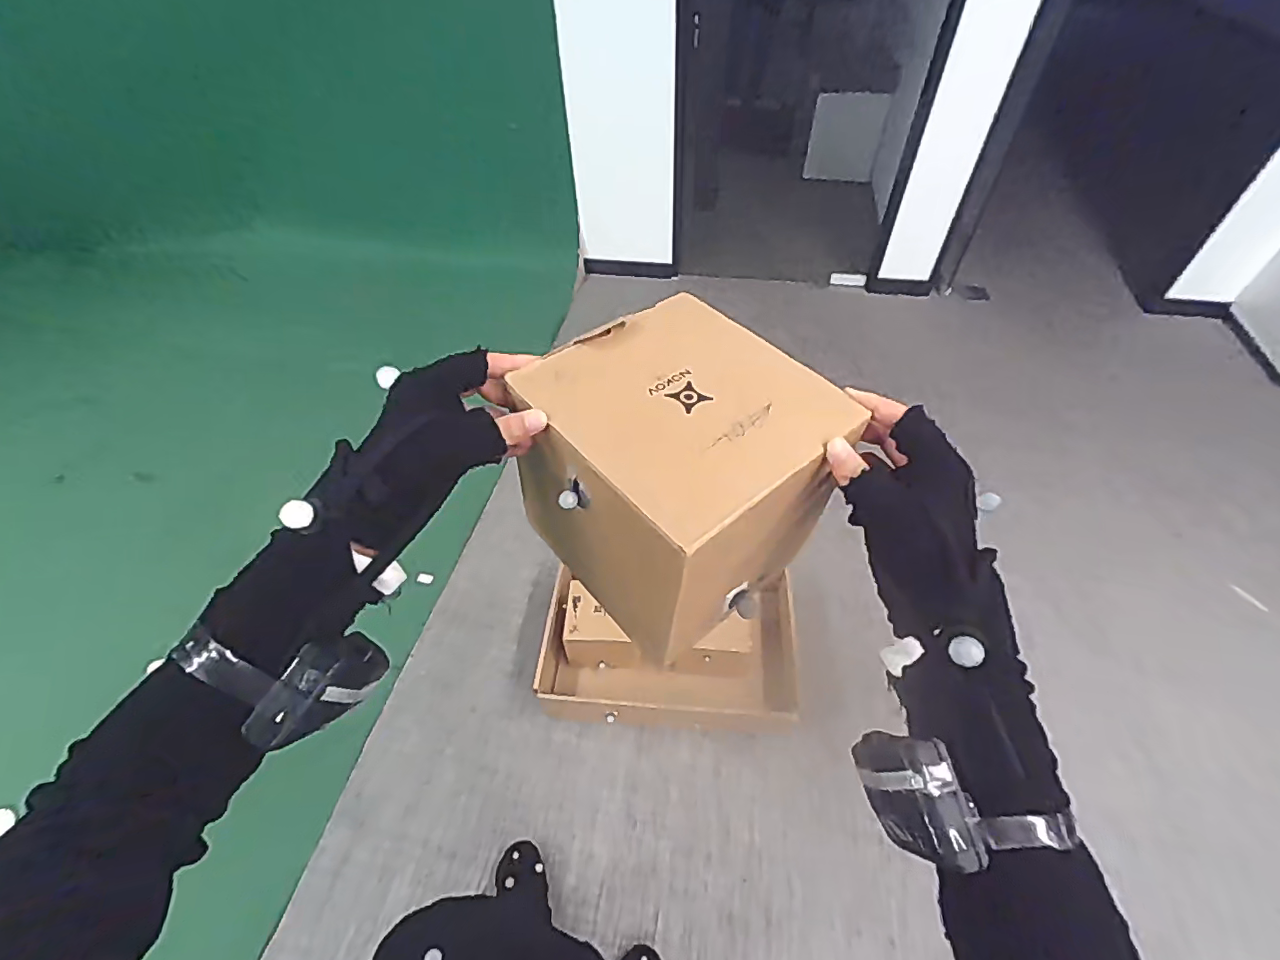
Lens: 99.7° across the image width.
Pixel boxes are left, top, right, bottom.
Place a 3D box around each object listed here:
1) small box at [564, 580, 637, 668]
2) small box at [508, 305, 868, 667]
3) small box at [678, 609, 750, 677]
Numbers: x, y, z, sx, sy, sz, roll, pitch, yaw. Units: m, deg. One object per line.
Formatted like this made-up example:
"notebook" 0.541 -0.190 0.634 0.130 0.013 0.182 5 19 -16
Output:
"small box" -0.092 0.379 1.409 0.179 0.176 0.168 2 49 2
"small box" 0.025 0.003 0.406 0.168 0.176 0.179 -33 58 -26
"small box" 0.187 0.391 1.386 0.179 0.176 0.168 4 50 7
